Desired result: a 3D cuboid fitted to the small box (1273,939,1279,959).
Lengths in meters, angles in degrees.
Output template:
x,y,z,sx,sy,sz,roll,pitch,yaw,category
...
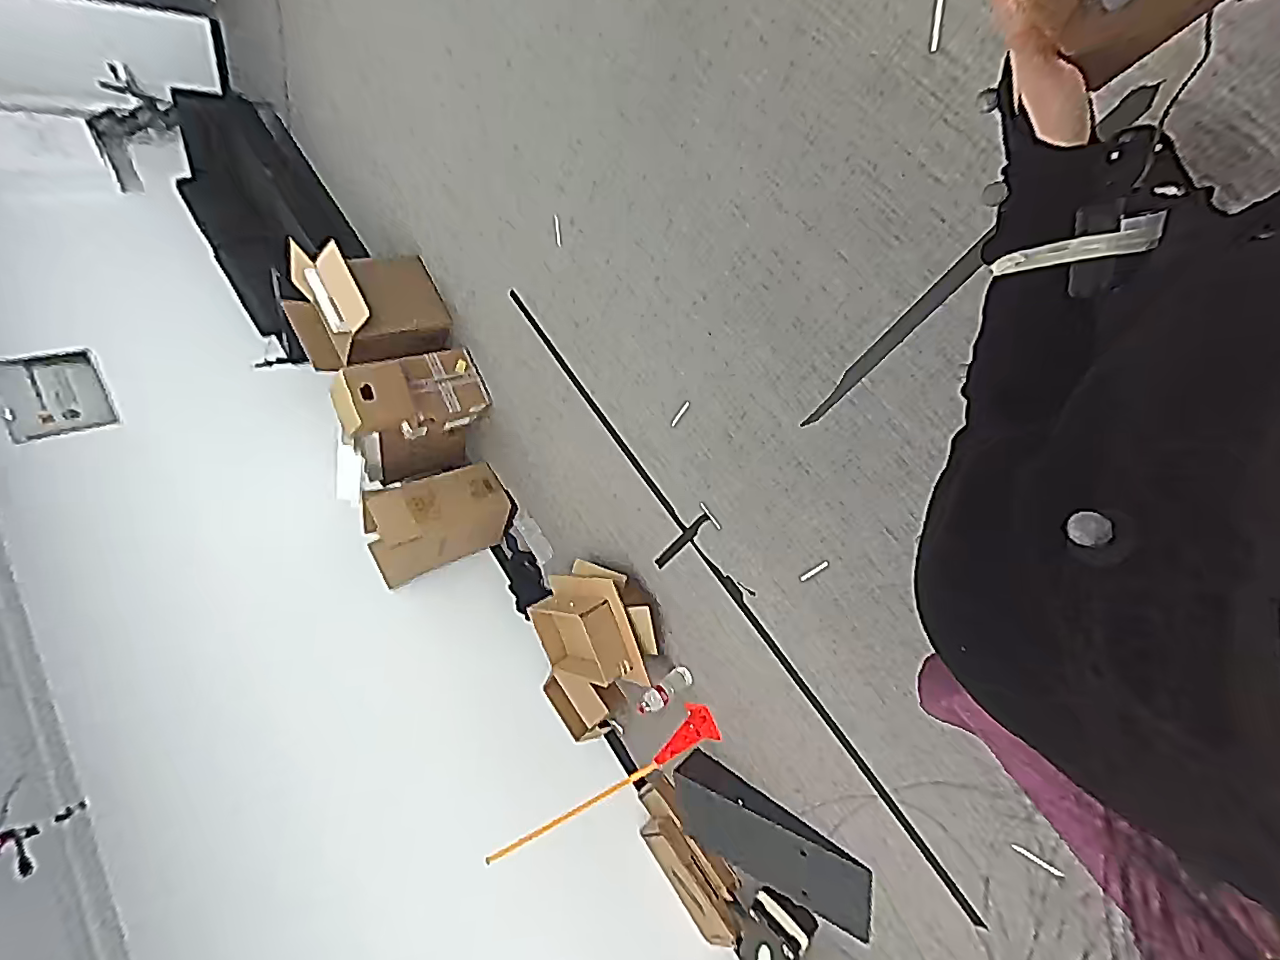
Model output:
x,y,z,sx,sy,sz,roll,pitch,yaw,category
0.610,0.353,0.373,0.179,0.176,0.168,55,142,14,small box
